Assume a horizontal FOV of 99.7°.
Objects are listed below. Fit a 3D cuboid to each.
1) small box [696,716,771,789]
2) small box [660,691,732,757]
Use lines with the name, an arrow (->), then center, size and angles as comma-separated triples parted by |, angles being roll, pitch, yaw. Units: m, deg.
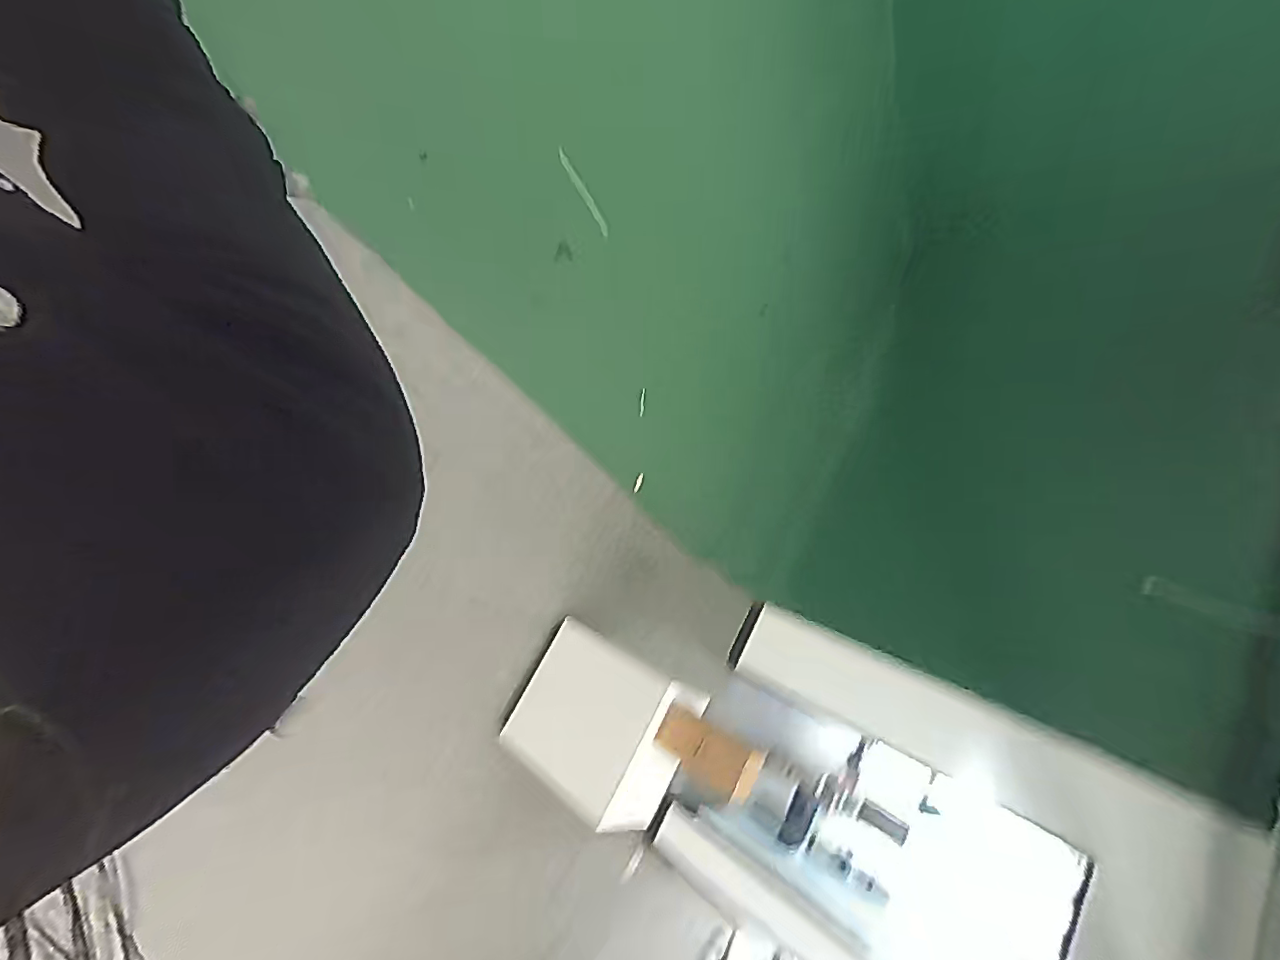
small box -> 0.322, 0.935, 1.865 | 0.179, 0.176, 0.168 | 40, 74, -52
small box -> 0.201, 0.886, 1.964 | 0.179, 0.176, 0.168 | 40, 74, -52
